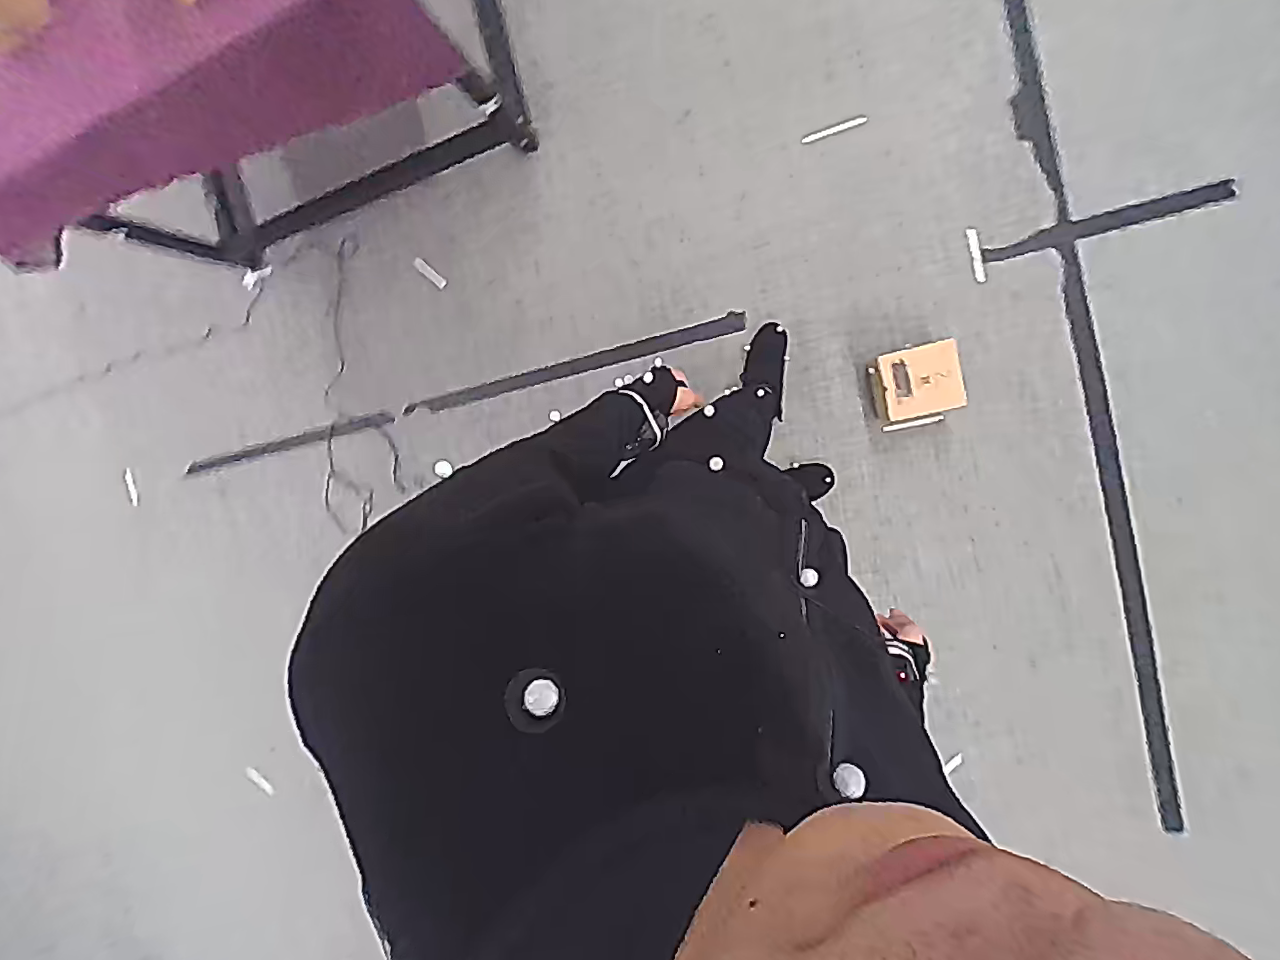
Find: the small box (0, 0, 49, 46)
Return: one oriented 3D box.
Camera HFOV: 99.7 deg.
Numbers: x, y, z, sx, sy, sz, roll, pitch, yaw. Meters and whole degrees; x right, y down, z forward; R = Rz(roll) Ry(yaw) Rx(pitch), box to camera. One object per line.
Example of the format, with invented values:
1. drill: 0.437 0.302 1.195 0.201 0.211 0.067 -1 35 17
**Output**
1. small box: -1.301 -0.991 1.027 0.168 0.176 0.179 -13 95 16
